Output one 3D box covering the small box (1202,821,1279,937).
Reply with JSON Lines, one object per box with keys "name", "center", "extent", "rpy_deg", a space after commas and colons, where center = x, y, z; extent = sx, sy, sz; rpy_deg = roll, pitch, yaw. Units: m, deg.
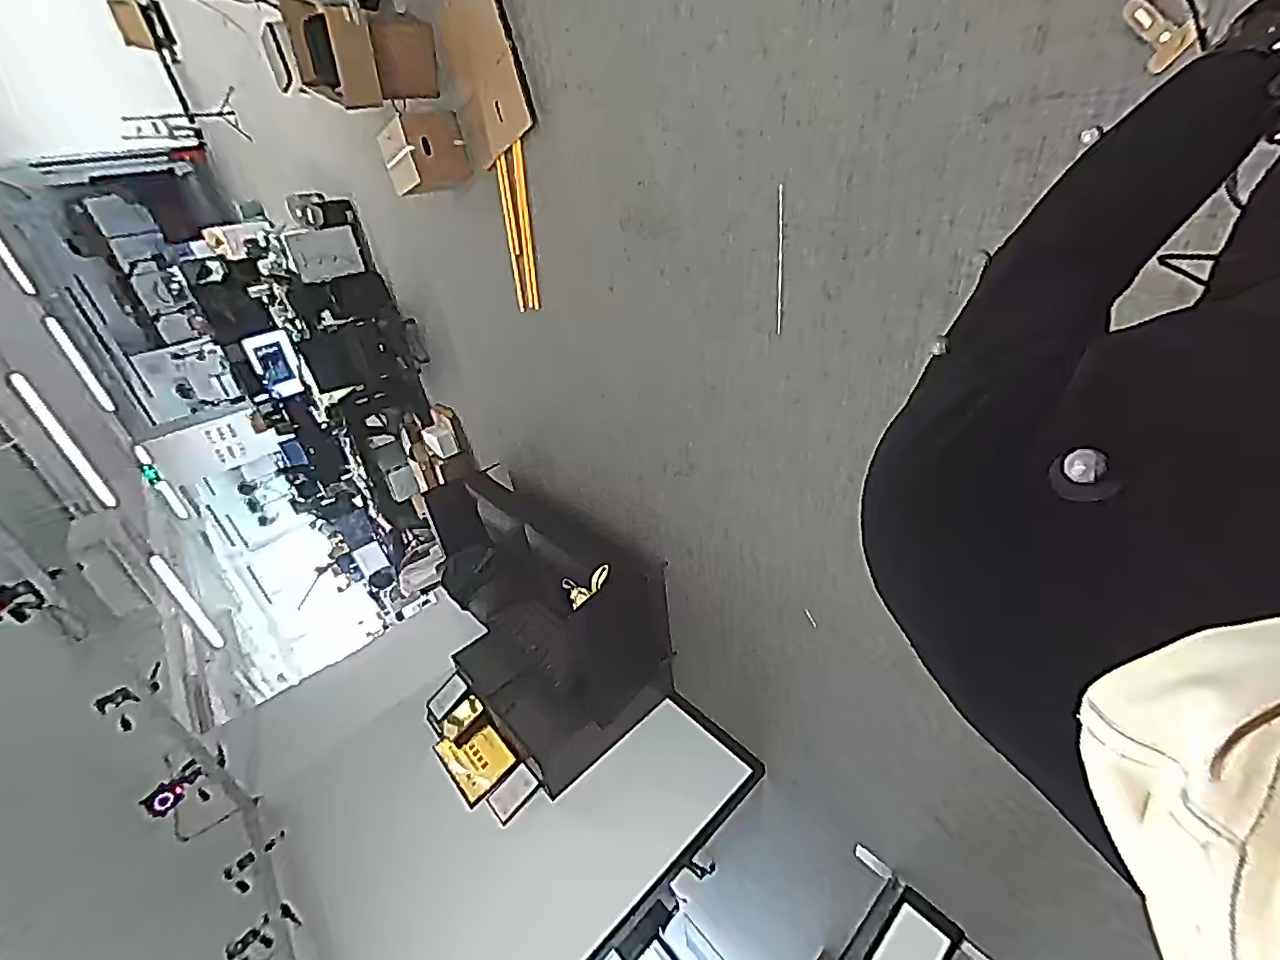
{"name": "small box", "center": [1.647, 1.043, 1.422], "extent": [0.179, 0.176, 0.168], "rpy_deg": [27, 136, 42]}
